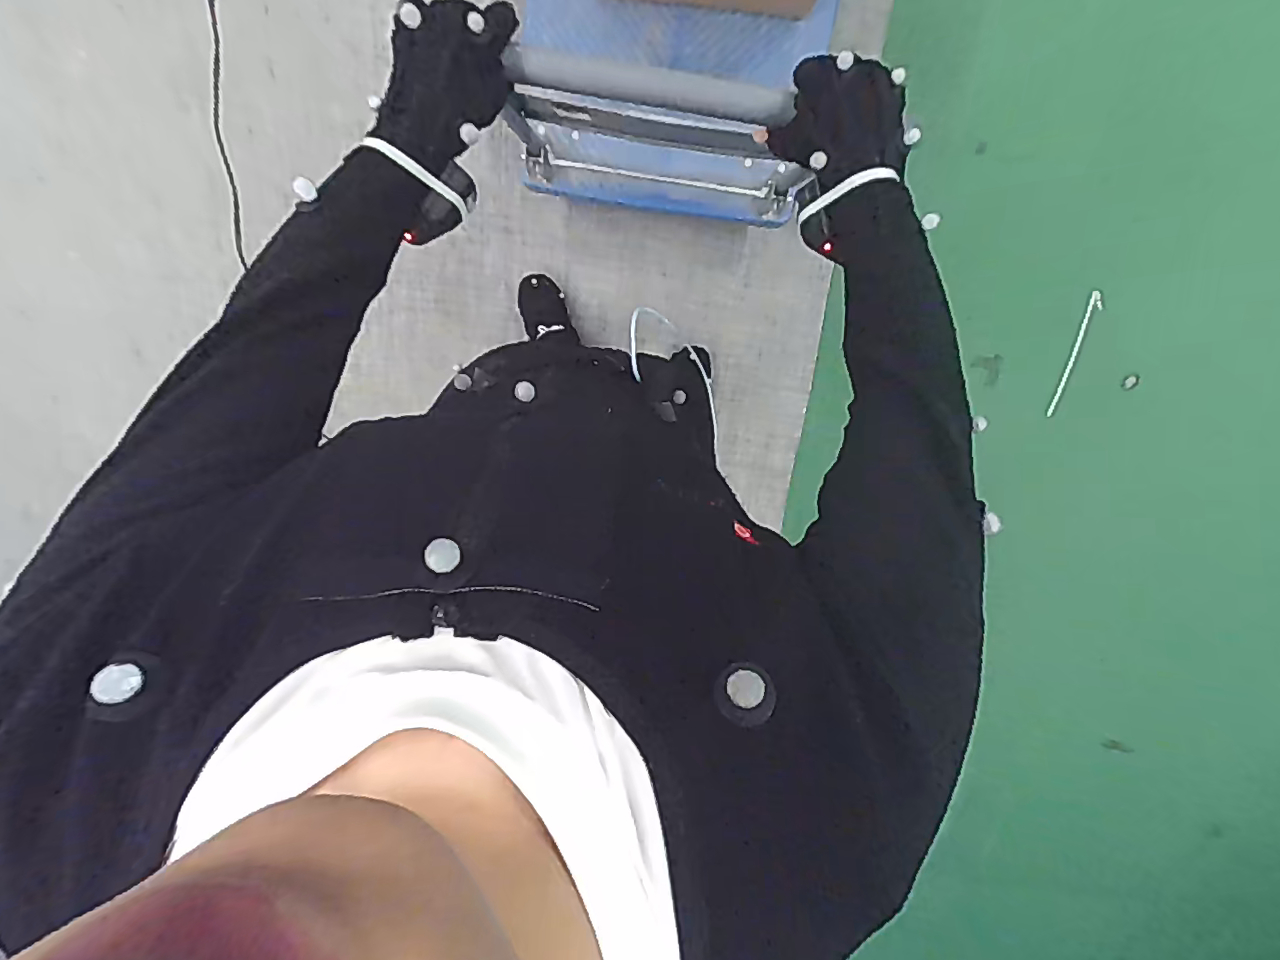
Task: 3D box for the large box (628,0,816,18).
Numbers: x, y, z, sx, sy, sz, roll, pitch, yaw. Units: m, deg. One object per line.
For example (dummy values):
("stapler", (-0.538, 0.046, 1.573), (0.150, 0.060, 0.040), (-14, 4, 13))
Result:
("large box", (0.130, -0.980, 0.831), (0.408, 0.320, 0.320), (6, 109, -1))
